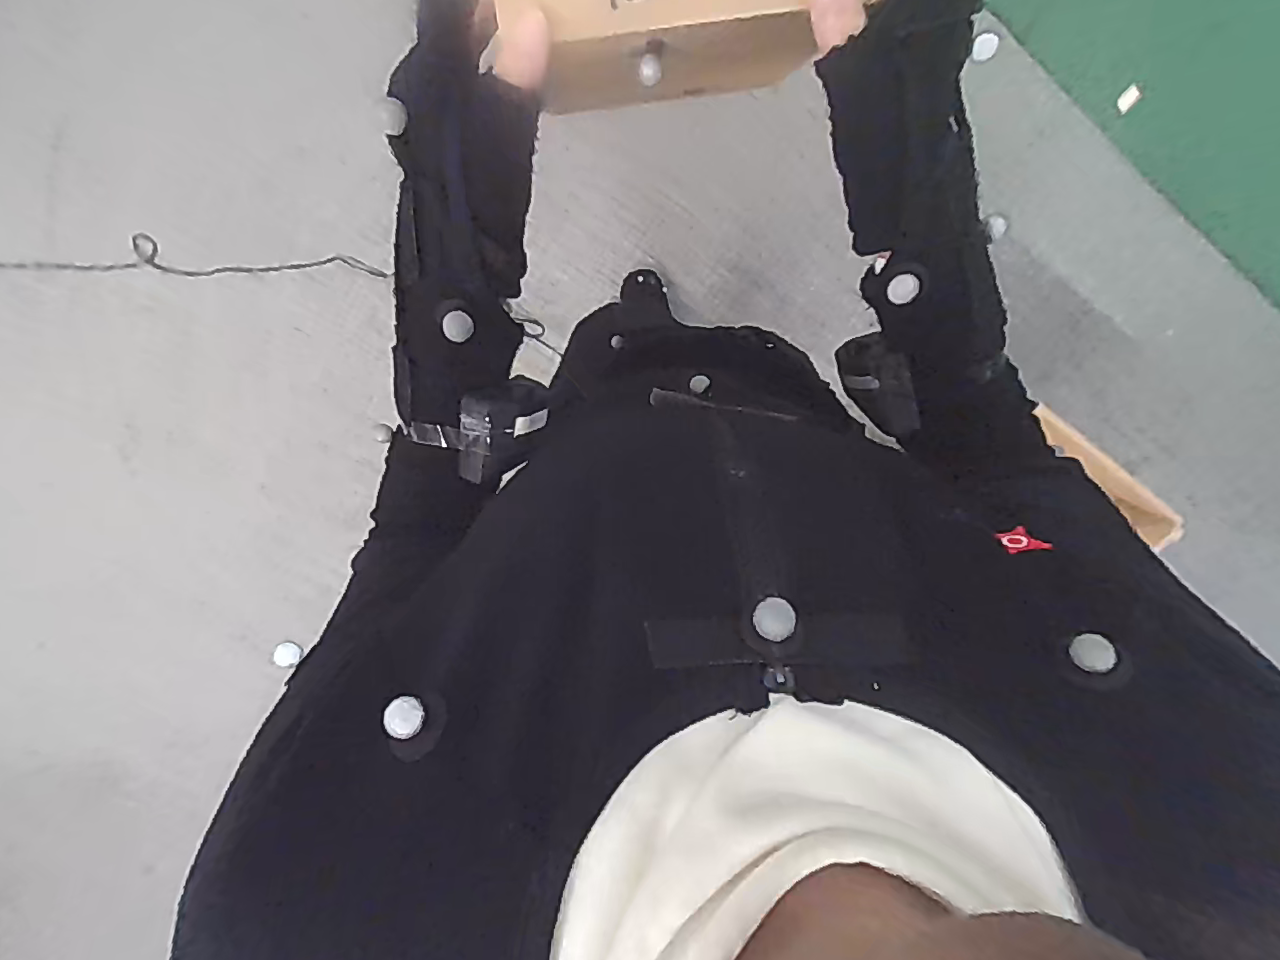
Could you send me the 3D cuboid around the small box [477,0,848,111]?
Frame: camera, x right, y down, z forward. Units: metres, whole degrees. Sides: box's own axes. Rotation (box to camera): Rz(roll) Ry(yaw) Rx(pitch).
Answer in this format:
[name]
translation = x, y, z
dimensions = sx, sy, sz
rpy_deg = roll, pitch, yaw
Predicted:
[small box]
translation = 0.002, -0.308, 0.263
dimensions = 0.168, 0.176, 0.179
rpy_deg = -7, 115, 1
